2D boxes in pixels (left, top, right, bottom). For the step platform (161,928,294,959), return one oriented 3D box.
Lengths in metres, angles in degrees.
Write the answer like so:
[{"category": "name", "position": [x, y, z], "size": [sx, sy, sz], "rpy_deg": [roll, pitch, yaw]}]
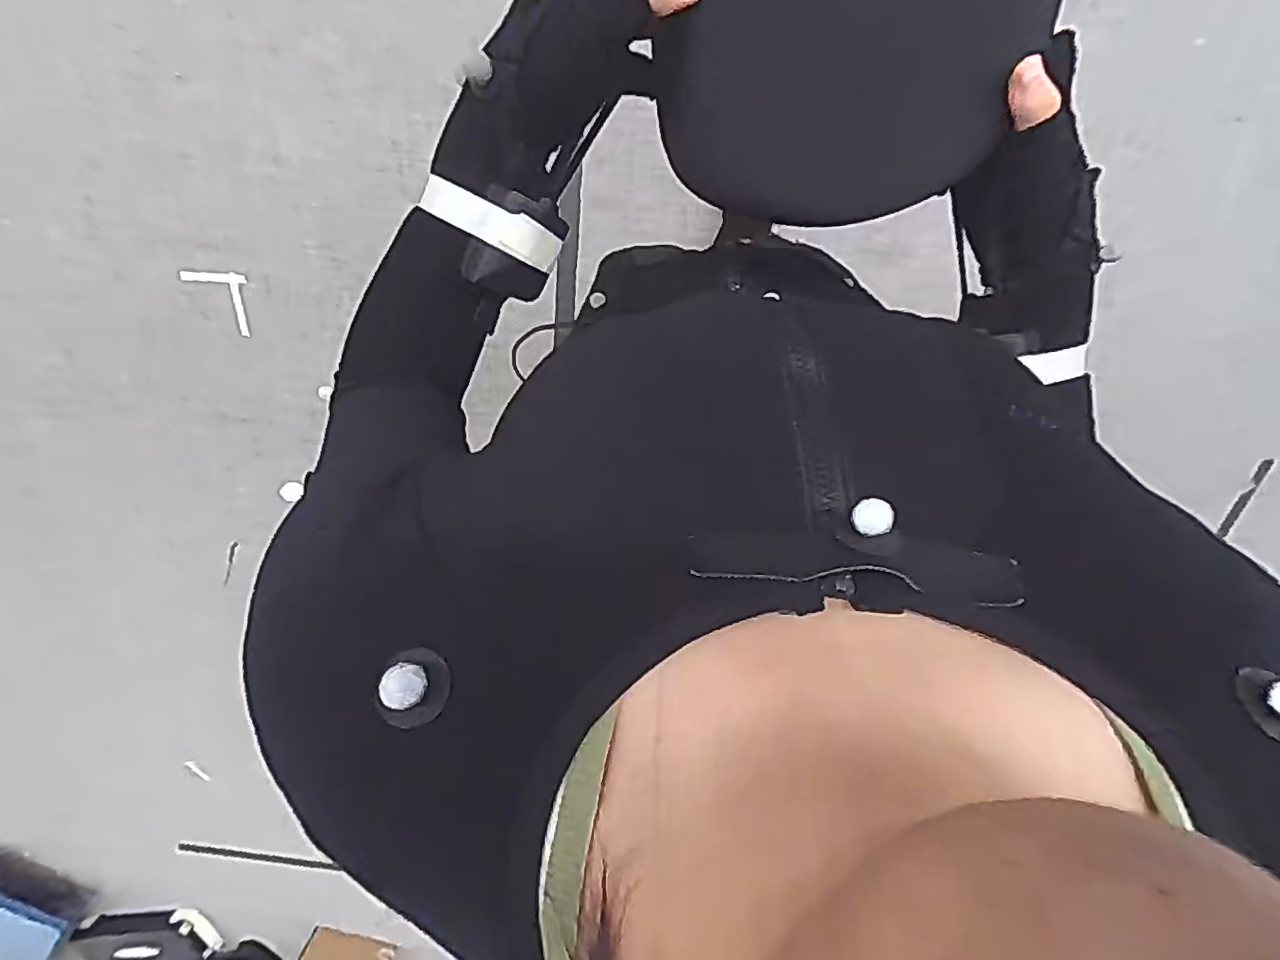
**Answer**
[{"category": "step platform", "position": [-2.109, 2.464, 2.690], "size": [0.684, 0.204, 0.286], "rpy_deg": [-21, 111, 12]}]
